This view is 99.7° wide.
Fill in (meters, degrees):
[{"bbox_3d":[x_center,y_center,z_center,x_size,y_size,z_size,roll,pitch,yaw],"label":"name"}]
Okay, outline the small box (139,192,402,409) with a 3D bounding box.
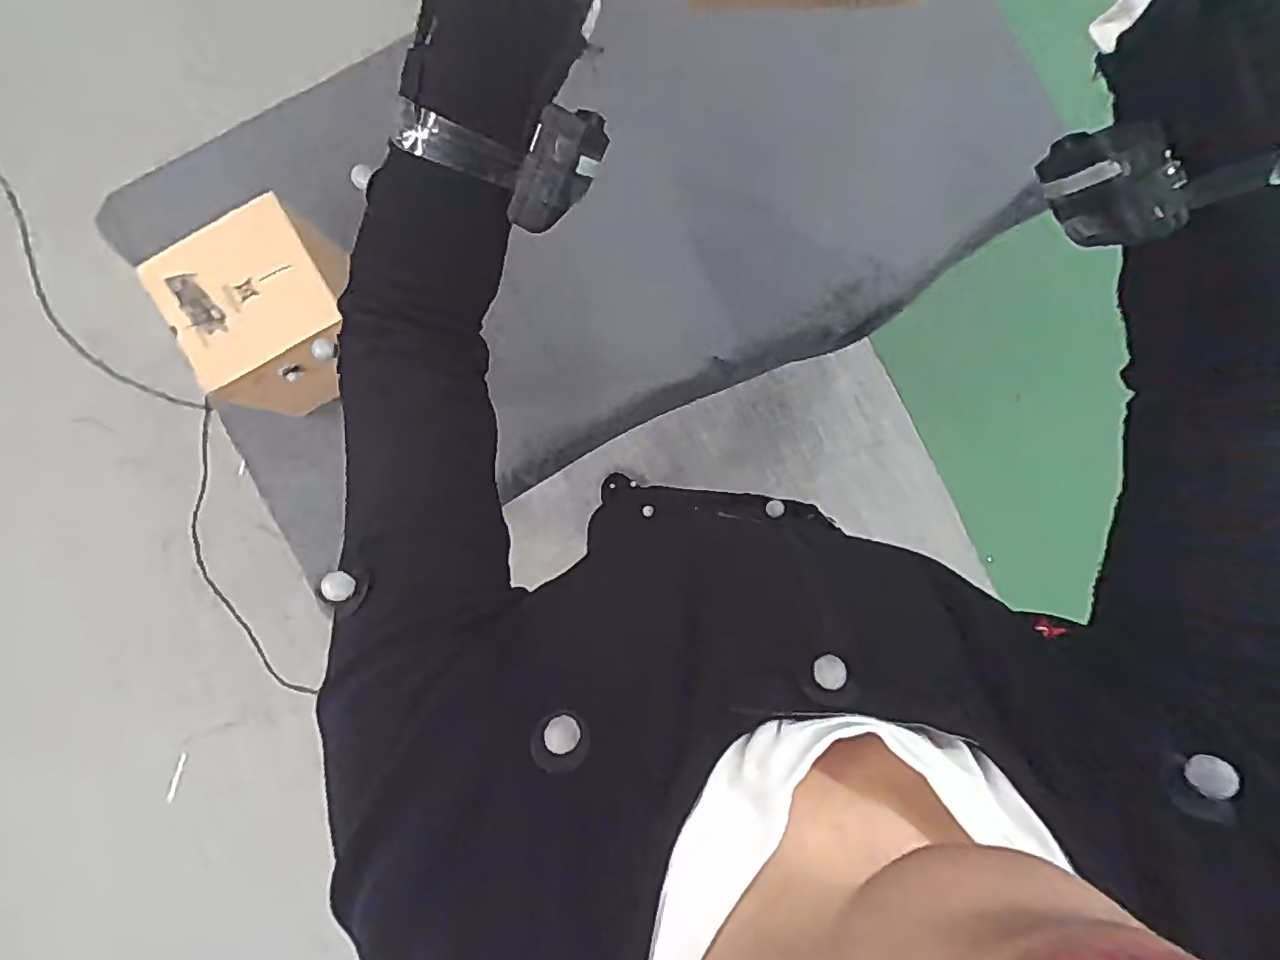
[{"bbox_3d":[-0.438,-0.204,0.672,0.179,0.176,0.168,-30,89,-1],"label":"small box"}]
